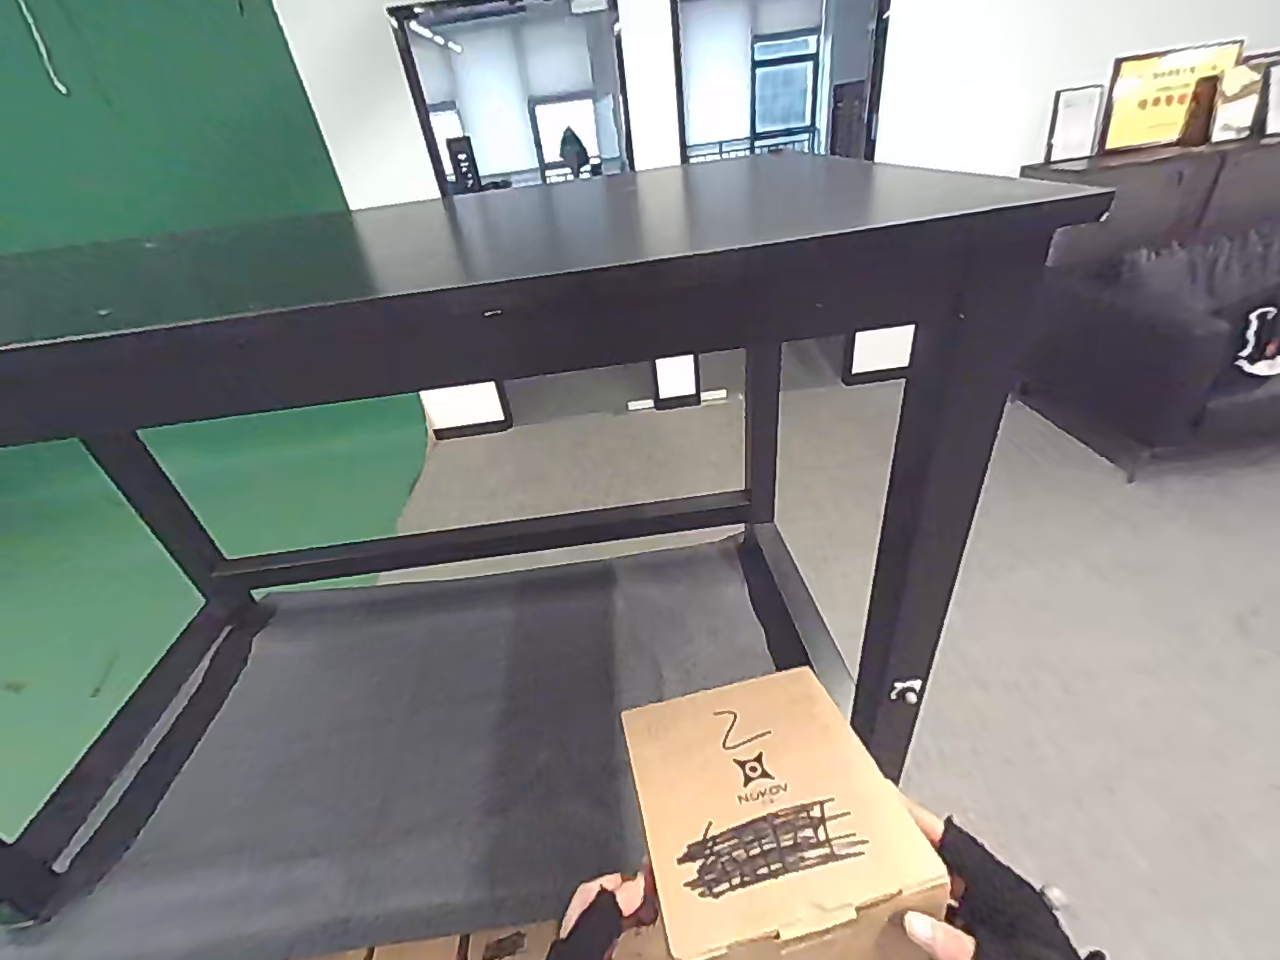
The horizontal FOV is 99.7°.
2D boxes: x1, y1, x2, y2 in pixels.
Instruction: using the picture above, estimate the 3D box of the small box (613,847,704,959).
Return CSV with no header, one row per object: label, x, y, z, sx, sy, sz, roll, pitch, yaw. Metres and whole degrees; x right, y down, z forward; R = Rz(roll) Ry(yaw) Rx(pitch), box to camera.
small box,0.040,0.889,1.110,0.168,0.176,0.179,-6,35,5
